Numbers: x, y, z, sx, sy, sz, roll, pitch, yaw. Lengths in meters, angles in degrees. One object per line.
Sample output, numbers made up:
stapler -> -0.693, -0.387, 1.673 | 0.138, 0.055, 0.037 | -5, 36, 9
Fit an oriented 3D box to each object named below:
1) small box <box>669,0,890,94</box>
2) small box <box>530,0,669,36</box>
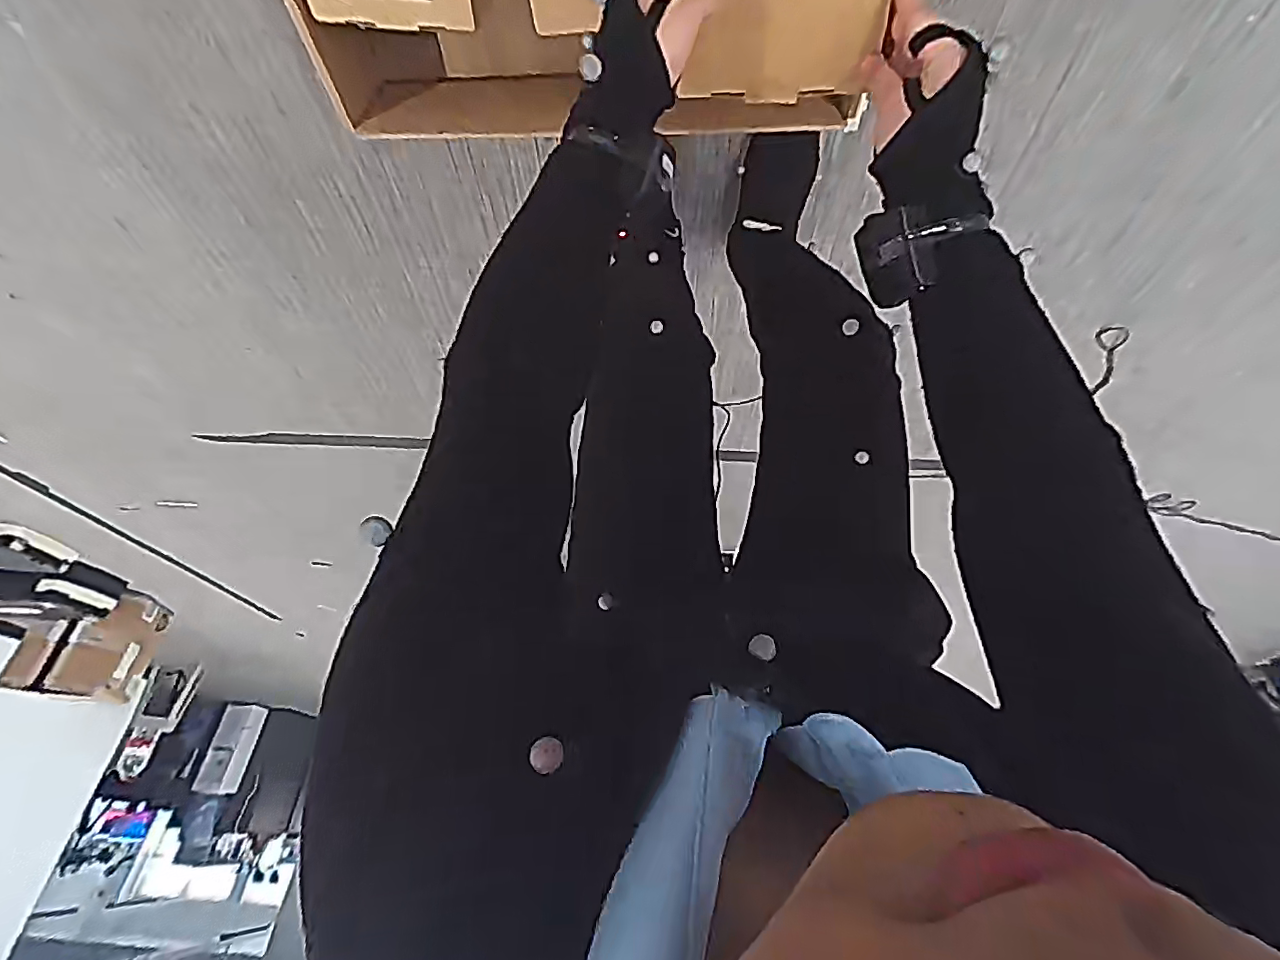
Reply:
small box -> 0.118, -0.438, 0.421 | 0.168, 0.176, 0.179 | 10, 149, 15
small box -> -0.026, -0.566, 0.513 | 0.168, 0.176, 0.179 | 0, 147, 6
